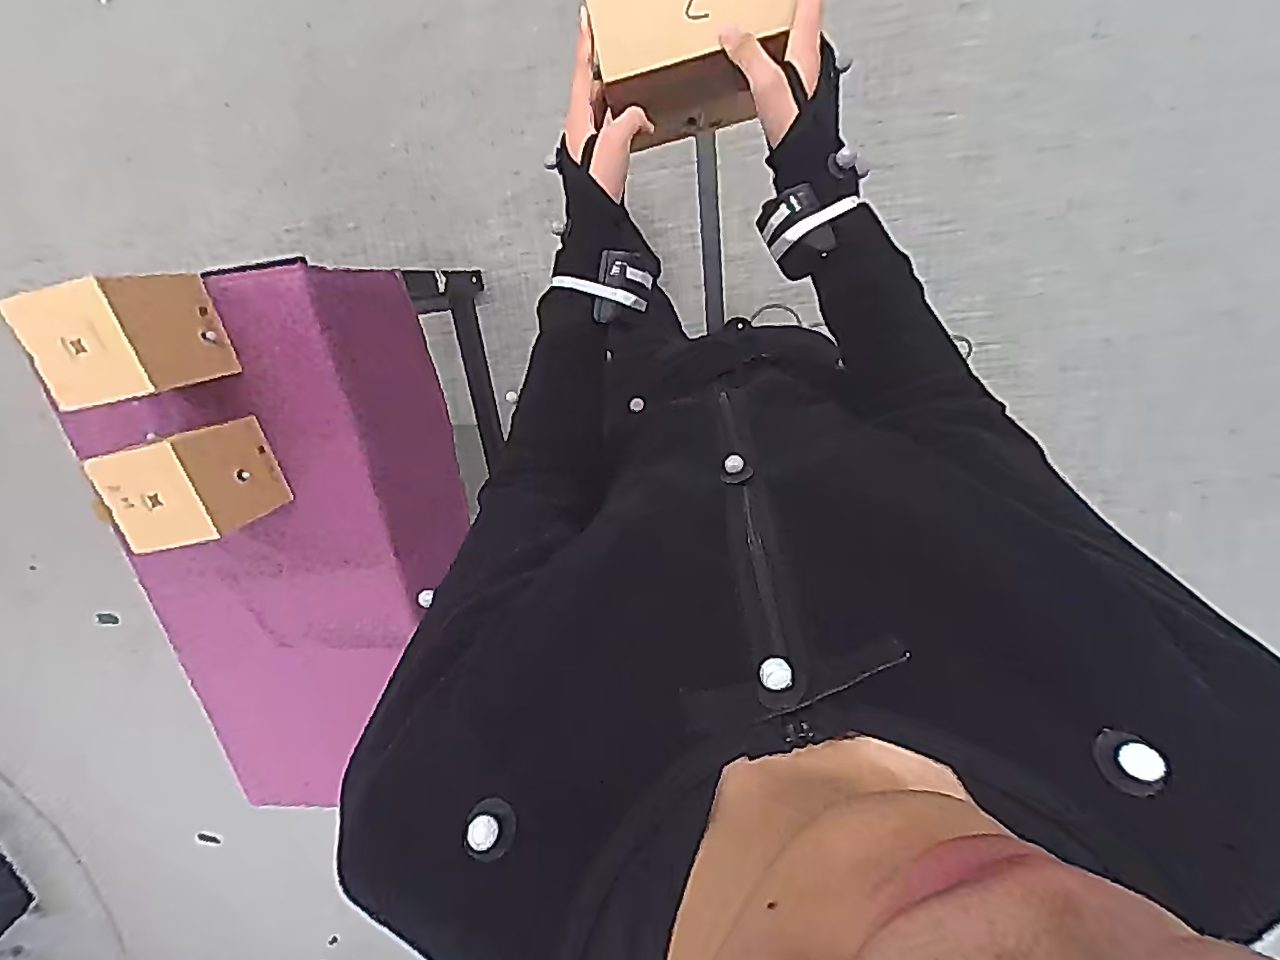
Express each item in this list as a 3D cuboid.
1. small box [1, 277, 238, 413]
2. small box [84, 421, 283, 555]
[{"bbox_3d":[-0.793,-0.214,0.845,0.179,0.176,0.168,-8,111,11],"label":"small box"},{"bbox_3d":[-0.759,0.008,0.927,0.179,0.176,0.168,-10,109,12],"label":"small box"}]
